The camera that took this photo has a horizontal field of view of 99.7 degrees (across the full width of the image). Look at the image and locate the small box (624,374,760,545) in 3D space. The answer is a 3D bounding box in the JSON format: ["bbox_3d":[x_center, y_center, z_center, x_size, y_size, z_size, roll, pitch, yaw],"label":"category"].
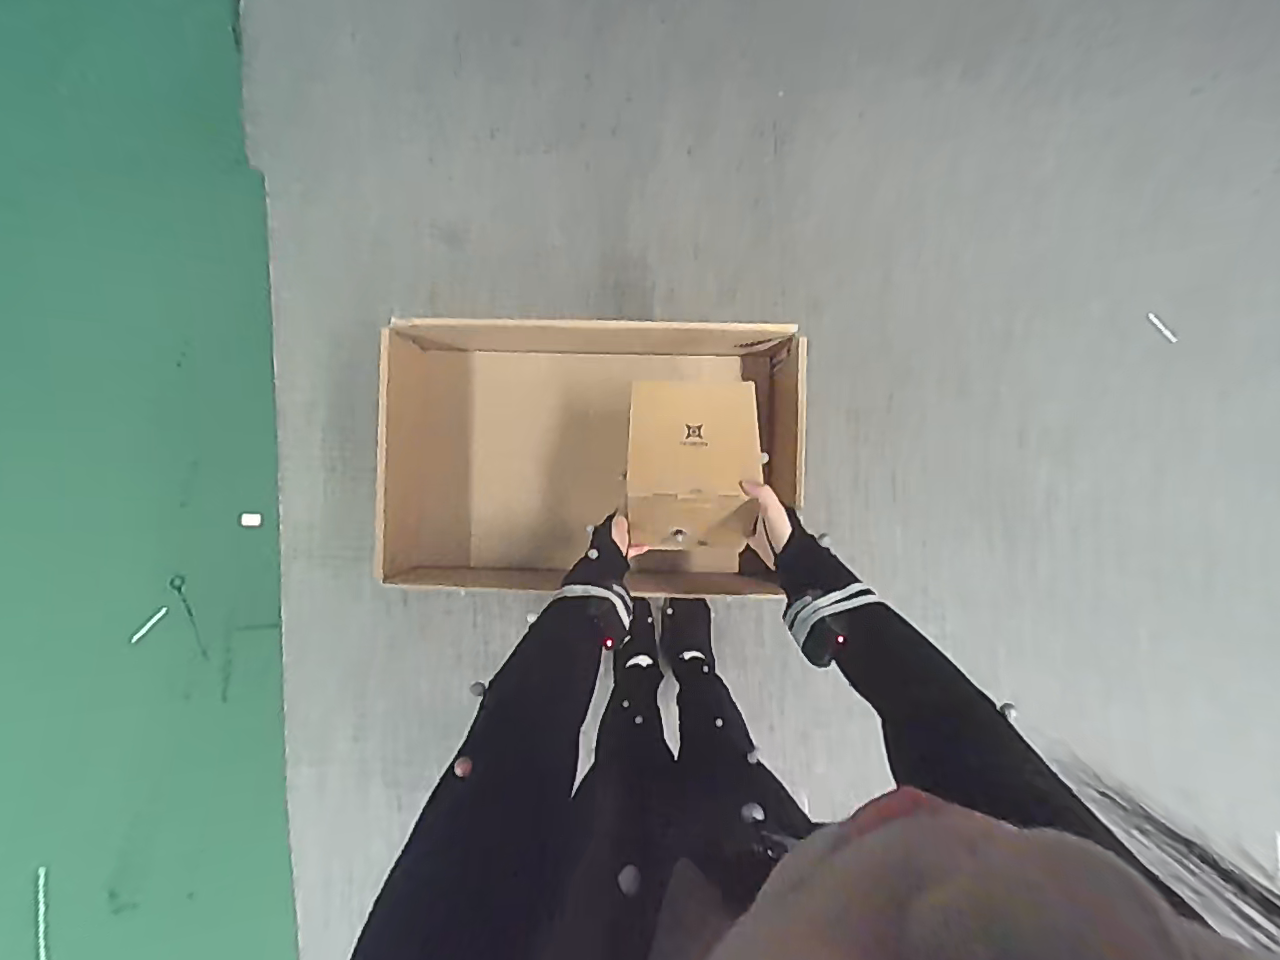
[{"bbox_3d":[0.065,-0.025,0.750,0.168,0.176,0.179,1,62,2],"label":"small box"}]
